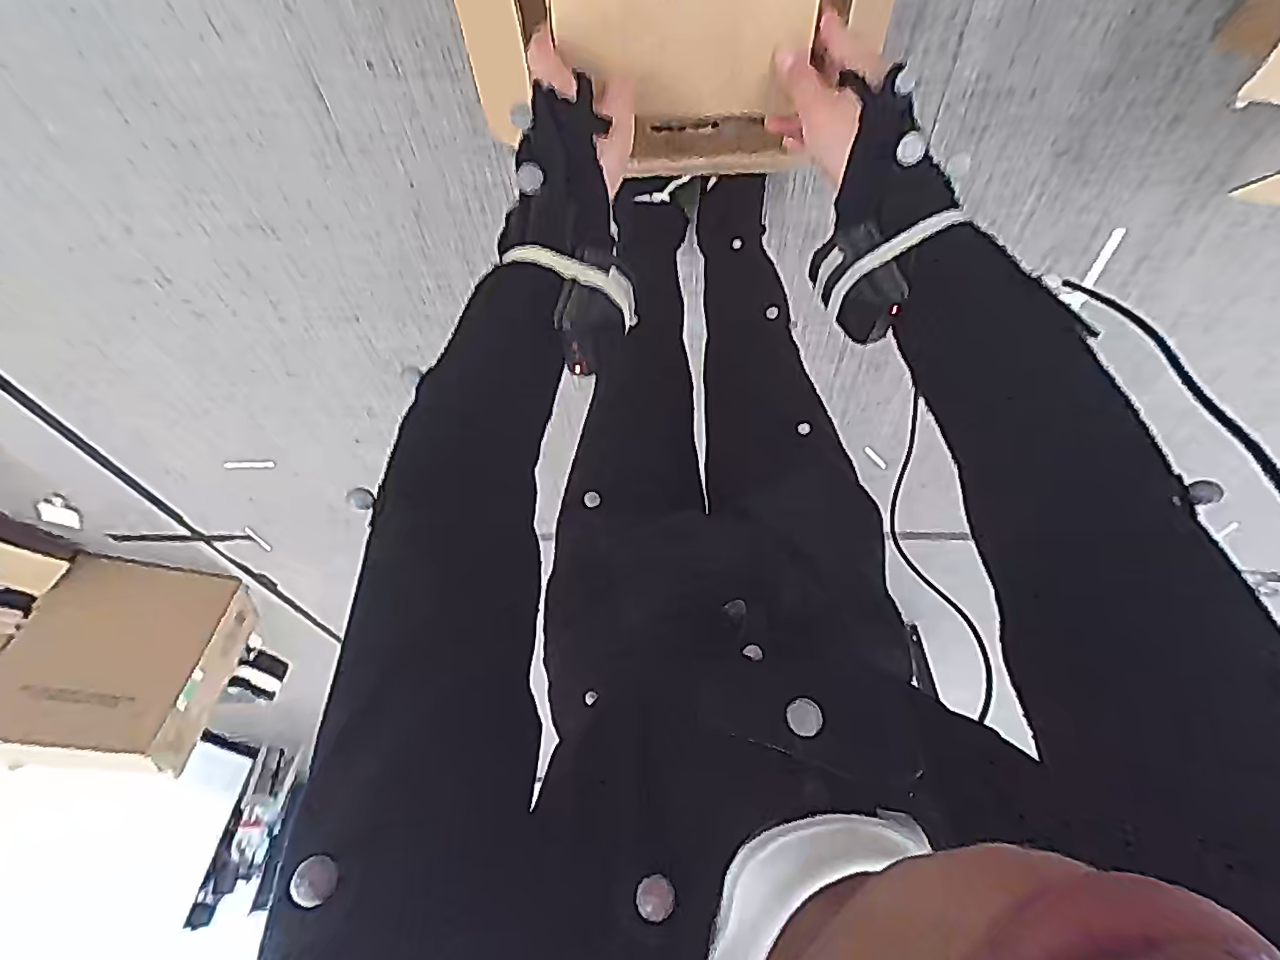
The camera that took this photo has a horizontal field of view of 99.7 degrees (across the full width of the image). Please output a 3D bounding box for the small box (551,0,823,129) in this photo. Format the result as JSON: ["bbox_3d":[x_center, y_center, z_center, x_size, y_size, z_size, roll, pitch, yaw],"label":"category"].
[{"bbox_3d":[0.031,-0.367,0.392,0.179,0.176,0.168,1,131,1],"label":"small box"}]
